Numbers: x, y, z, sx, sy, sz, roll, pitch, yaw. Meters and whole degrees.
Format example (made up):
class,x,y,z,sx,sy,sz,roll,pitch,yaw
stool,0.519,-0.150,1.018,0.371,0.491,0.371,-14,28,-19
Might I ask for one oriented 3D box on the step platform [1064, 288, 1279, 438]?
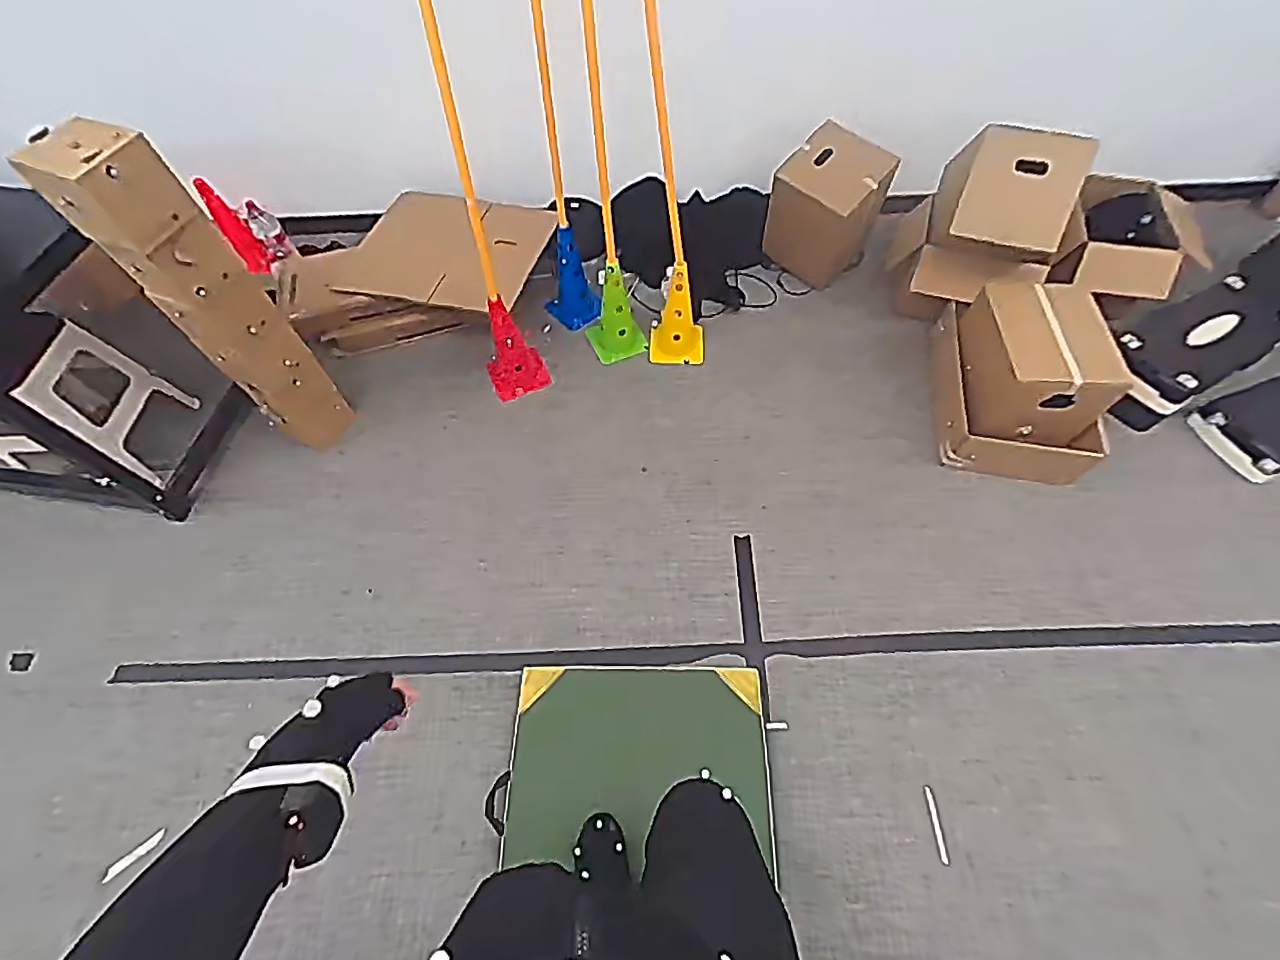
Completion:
class,x,y,z,sx,sy,sz,roll,pitch,yaw
step platform,1.859,-0.416,1.880,0.684,0.204,0.286,-27,63,-13
